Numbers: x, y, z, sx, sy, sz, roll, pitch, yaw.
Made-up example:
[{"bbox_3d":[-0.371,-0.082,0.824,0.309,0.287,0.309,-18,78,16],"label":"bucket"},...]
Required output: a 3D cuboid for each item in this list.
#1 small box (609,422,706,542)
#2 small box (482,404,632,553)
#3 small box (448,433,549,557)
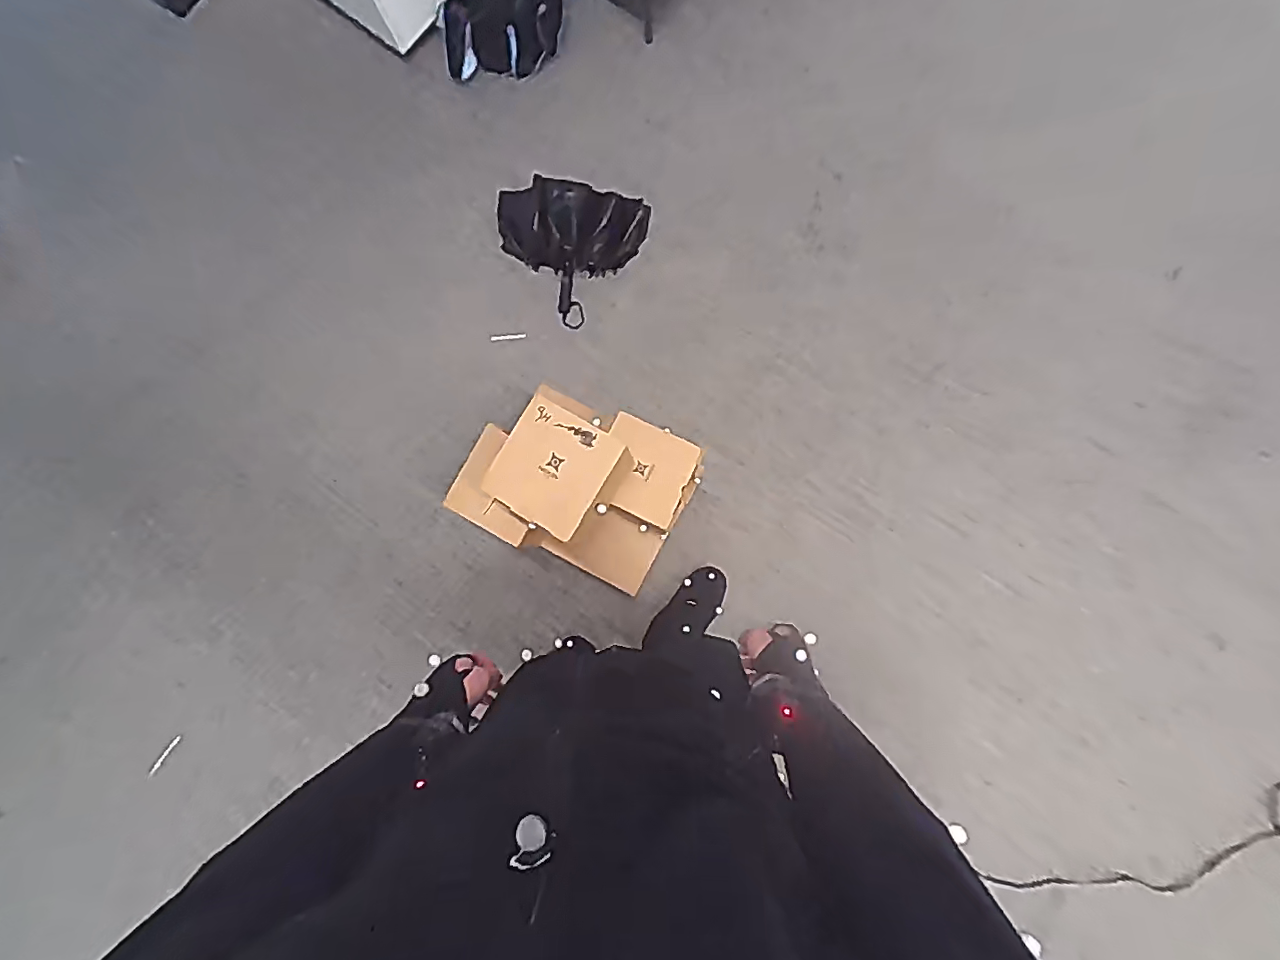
[{"bbox_3d":[0.013,0.013,1.058,0.179,0.176,0.168,25,81,8],"label":"small box"},{"bbox_3d":[-0.124,0.006,0.898,0.168,0.176,0.179,31,86,7],"label":"small box"},{"bbox_3d":[-0.237,0.034,1.068,0.168,0.176,0.179,29,87,7],"label":"small box"}]
